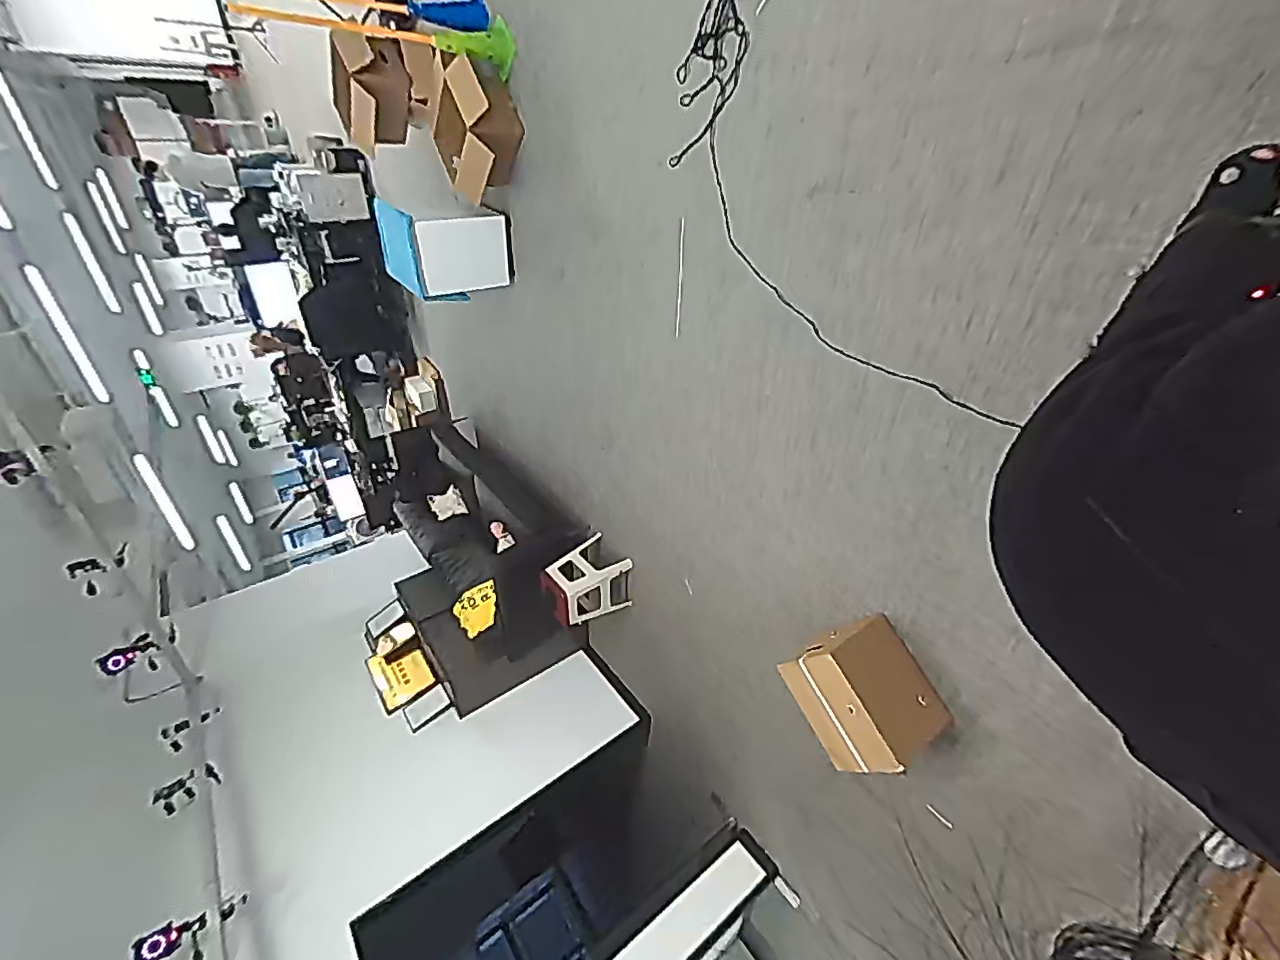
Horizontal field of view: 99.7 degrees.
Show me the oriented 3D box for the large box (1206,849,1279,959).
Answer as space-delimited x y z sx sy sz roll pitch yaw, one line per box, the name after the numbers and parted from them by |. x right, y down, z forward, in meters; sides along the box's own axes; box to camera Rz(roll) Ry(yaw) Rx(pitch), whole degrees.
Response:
1.444 1.078 1.084 0.408 0.320 0.320 21 126 49 | large box
